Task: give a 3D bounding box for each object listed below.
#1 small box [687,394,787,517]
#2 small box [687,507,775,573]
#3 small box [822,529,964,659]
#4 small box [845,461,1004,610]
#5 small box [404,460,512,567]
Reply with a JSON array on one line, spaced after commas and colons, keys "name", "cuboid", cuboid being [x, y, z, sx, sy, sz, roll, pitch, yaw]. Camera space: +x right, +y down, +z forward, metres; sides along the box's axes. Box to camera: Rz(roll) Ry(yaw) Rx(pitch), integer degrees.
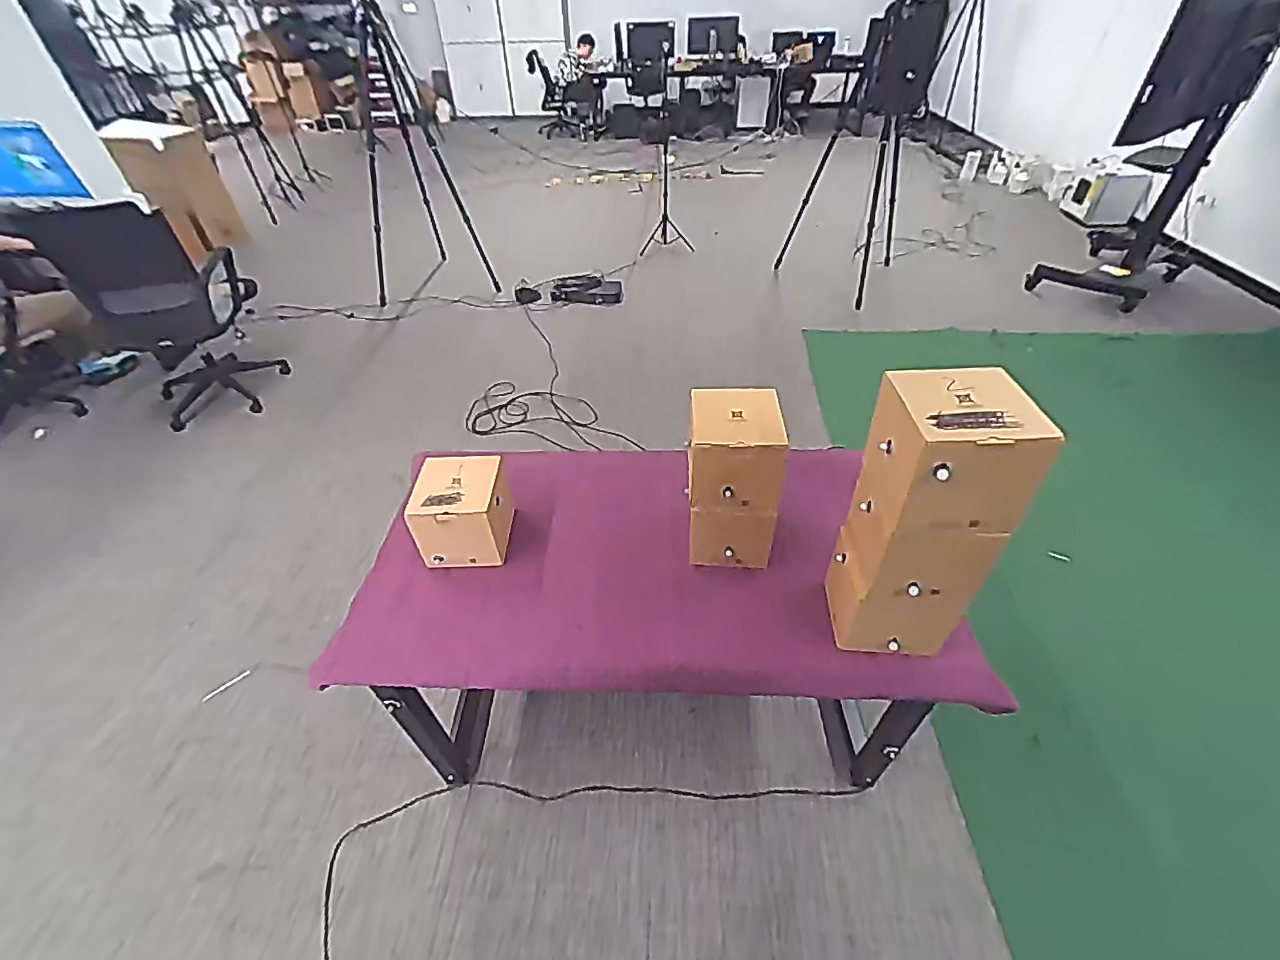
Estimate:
[{"name": "small box", "cuboid": [0.178, -0.048, 1.050, 0.168, 0.176, 0.179, 1, 44, 2]}, {"name": "small box", "cuboid": [0.189, 0.075, 1.156, 0.168, 0.176, 0.179, 3, 43, 6]}, {"name": "small box", "cuboid": [0.452, 0.212, 0.997, 0.179, 0.176, 0.168, 3, 42, 5]}, {"name": "small box", "cuboid": [0.449, 0.089, 0.890, 0.168, 0.176, 0.179, 1, 42, 6]}, {"name": "small box", "cuboid": [-0.381, 0.076, 1.170, 0.168, 0.176, 0.179, -1, 42, -1]}]
